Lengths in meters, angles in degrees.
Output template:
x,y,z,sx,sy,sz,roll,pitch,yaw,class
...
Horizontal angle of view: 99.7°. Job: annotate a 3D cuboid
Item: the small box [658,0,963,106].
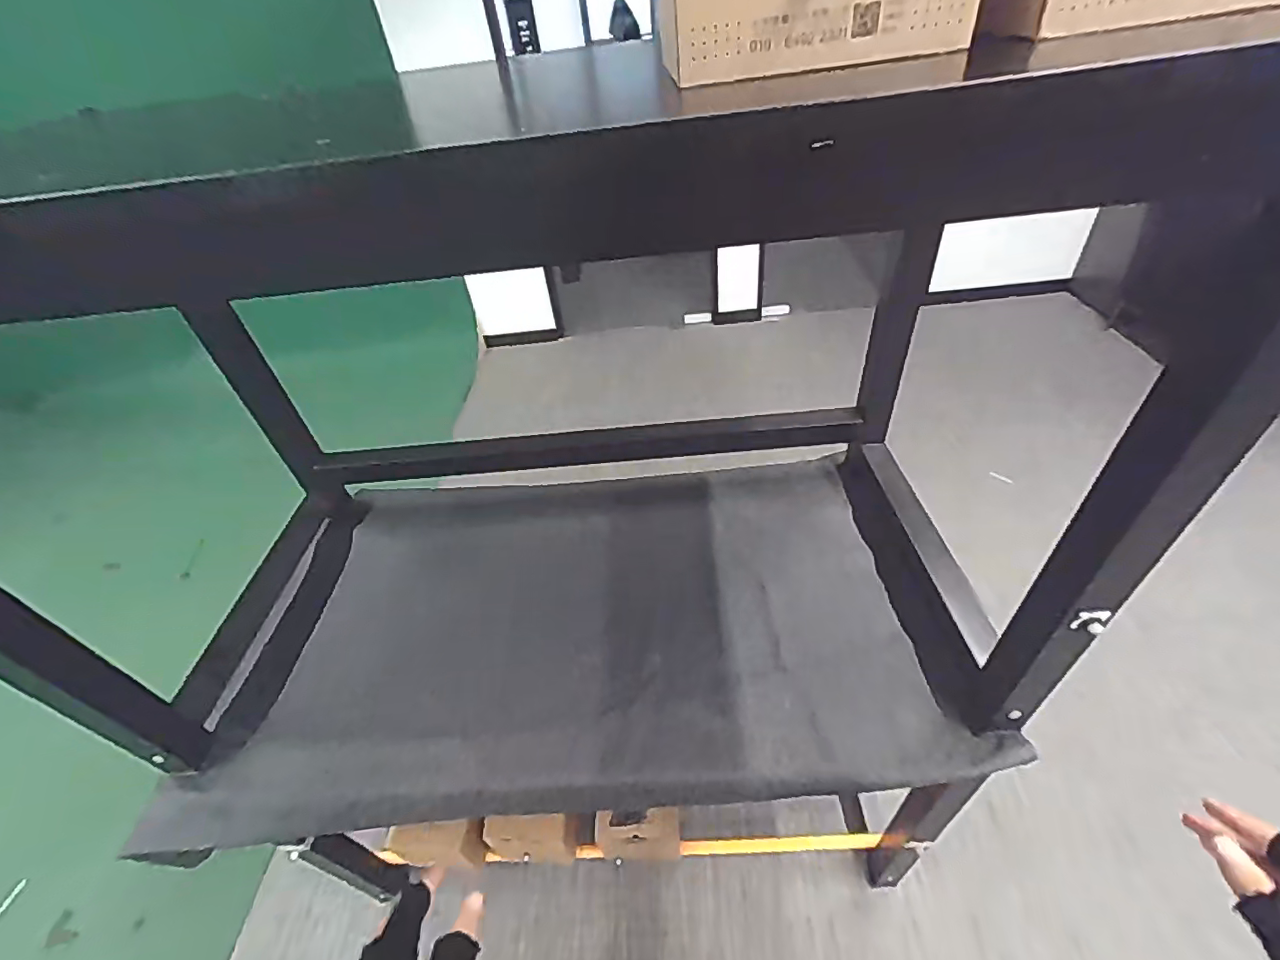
x,y,z,sx,sy,sz,roll,pitch,yaw,class
0.093,-0.346,0.335,0.168,0.176,0.179,-5,41,3,small box
